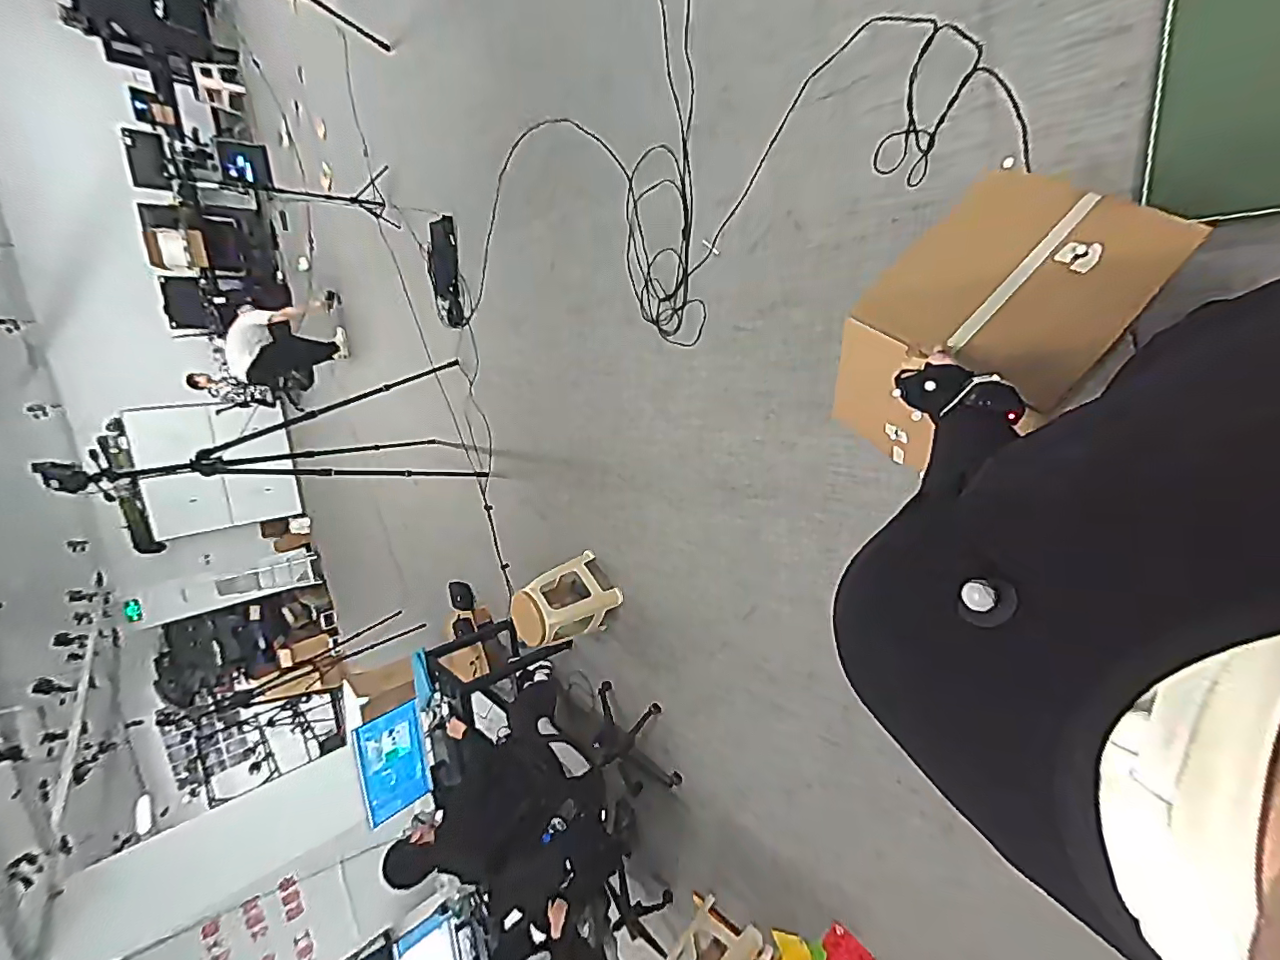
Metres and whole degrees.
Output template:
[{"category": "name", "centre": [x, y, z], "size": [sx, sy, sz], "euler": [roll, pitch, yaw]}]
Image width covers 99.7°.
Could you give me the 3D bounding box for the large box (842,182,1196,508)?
[{"category": "large box", "centre": [0.616, -0.231, 0.958], "size": [0.320, 0.408, 0.320], "euler": [41, 168, 29]}]
